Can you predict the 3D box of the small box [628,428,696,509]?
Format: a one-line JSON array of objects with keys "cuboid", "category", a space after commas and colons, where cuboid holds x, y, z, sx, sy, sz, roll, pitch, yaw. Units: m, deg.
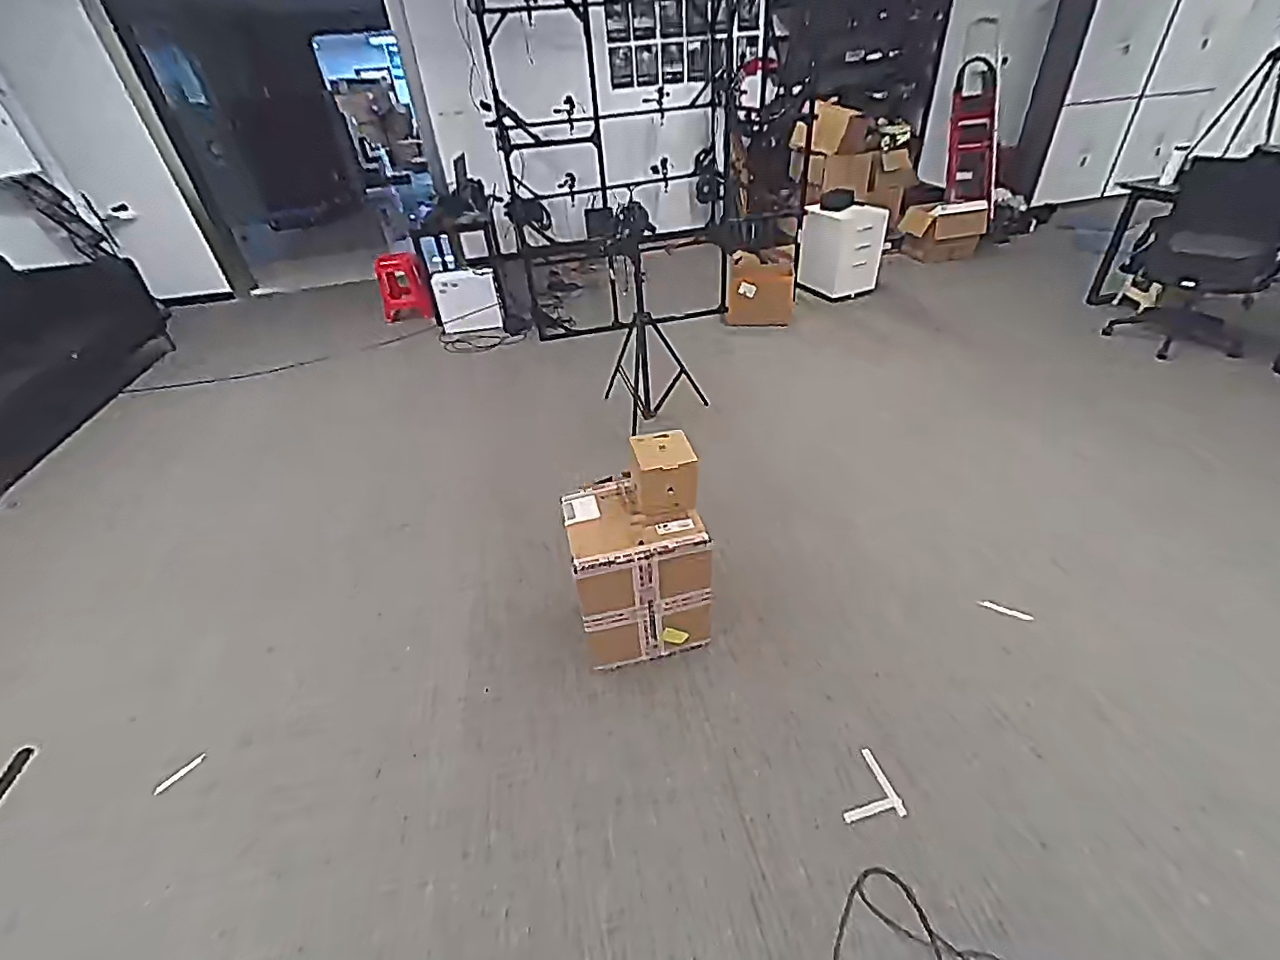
[{"cuboid": [0.065, -0.029, 1.611, 0.168, 0.176, 0.179, -9, 40, -9], "category": "small box"}]
